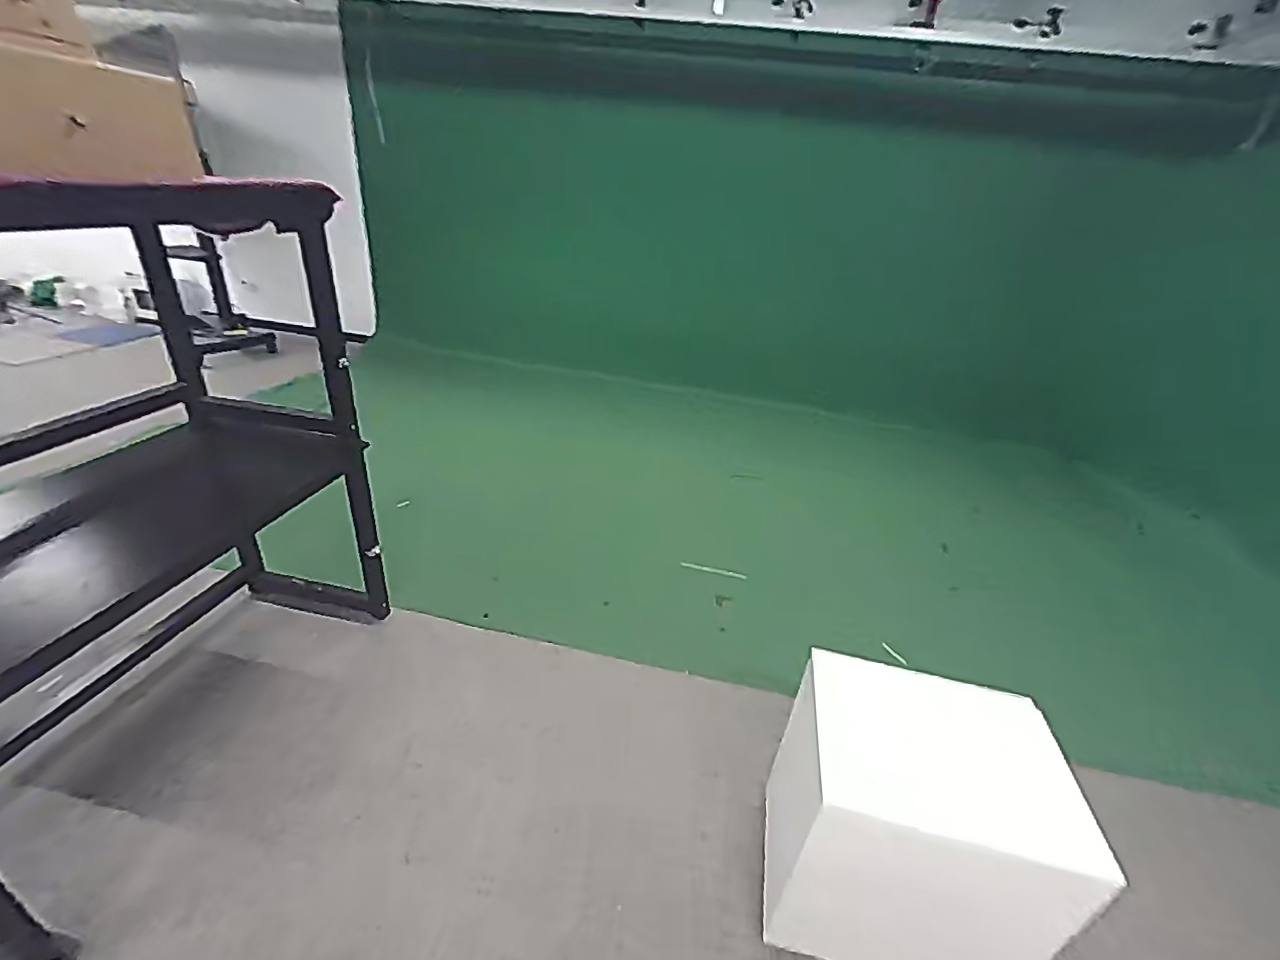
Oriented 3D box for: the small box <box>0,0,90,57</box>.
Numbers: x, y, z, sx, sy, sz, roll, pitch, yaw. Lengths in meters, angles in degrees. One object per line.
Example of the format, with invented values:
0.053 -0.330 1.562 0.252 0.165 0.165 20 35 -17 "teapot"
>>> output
-1.101 -0.830 0.903 0.179 0.176 0.168 10 30 9 "small box"
